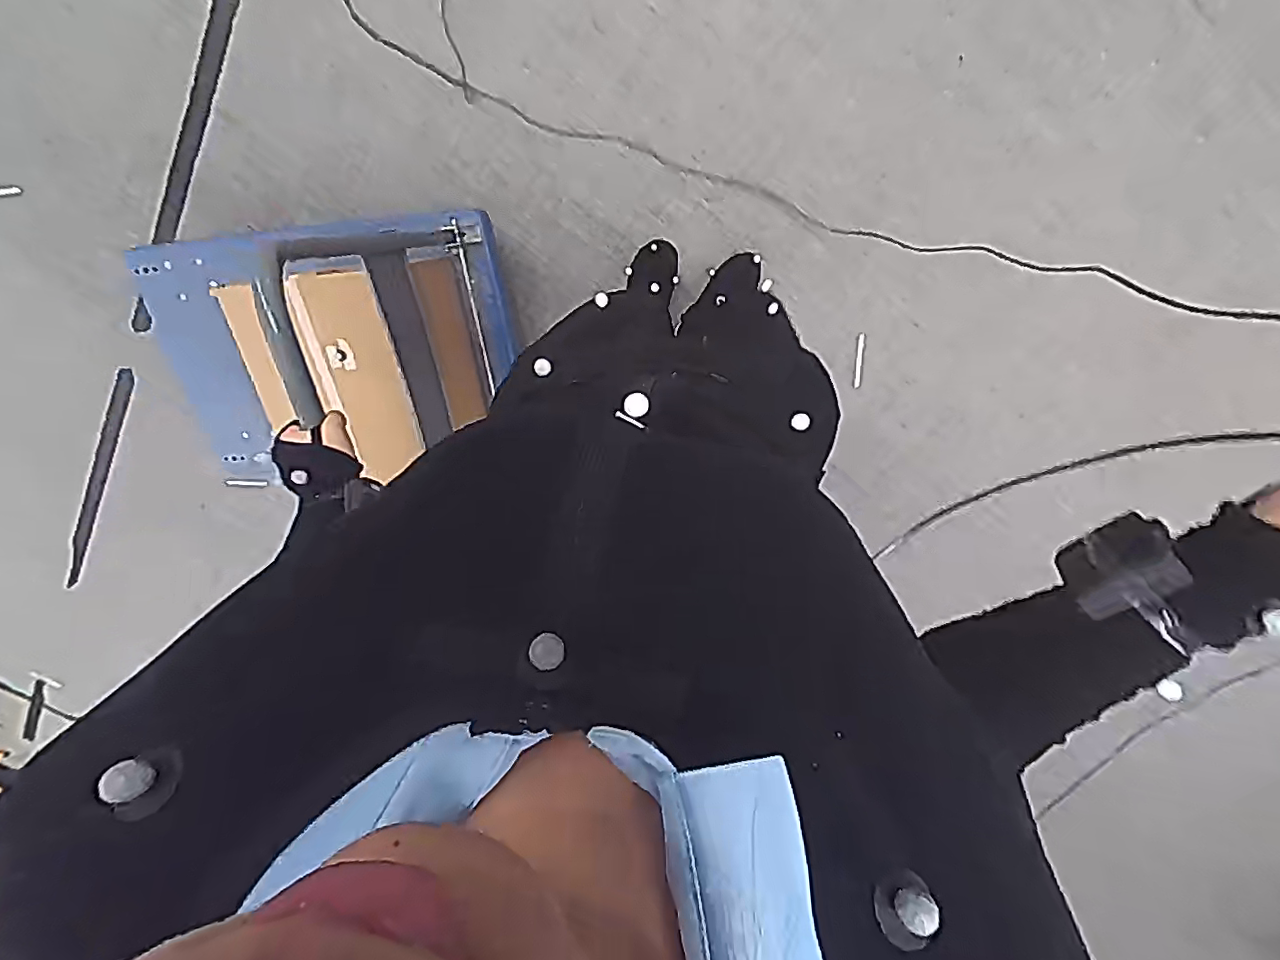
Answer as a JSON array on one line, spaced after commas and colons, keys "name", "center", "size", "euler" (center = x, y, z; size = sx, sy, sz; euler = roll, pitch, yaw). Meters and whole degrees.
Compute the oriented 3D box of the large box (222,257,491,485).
[{"name": "large box", "center": [-0.551, -0.238, 1.149], "size": [0.320, 0.320, 0.408], "euler": [-3, 115, 6]}]
